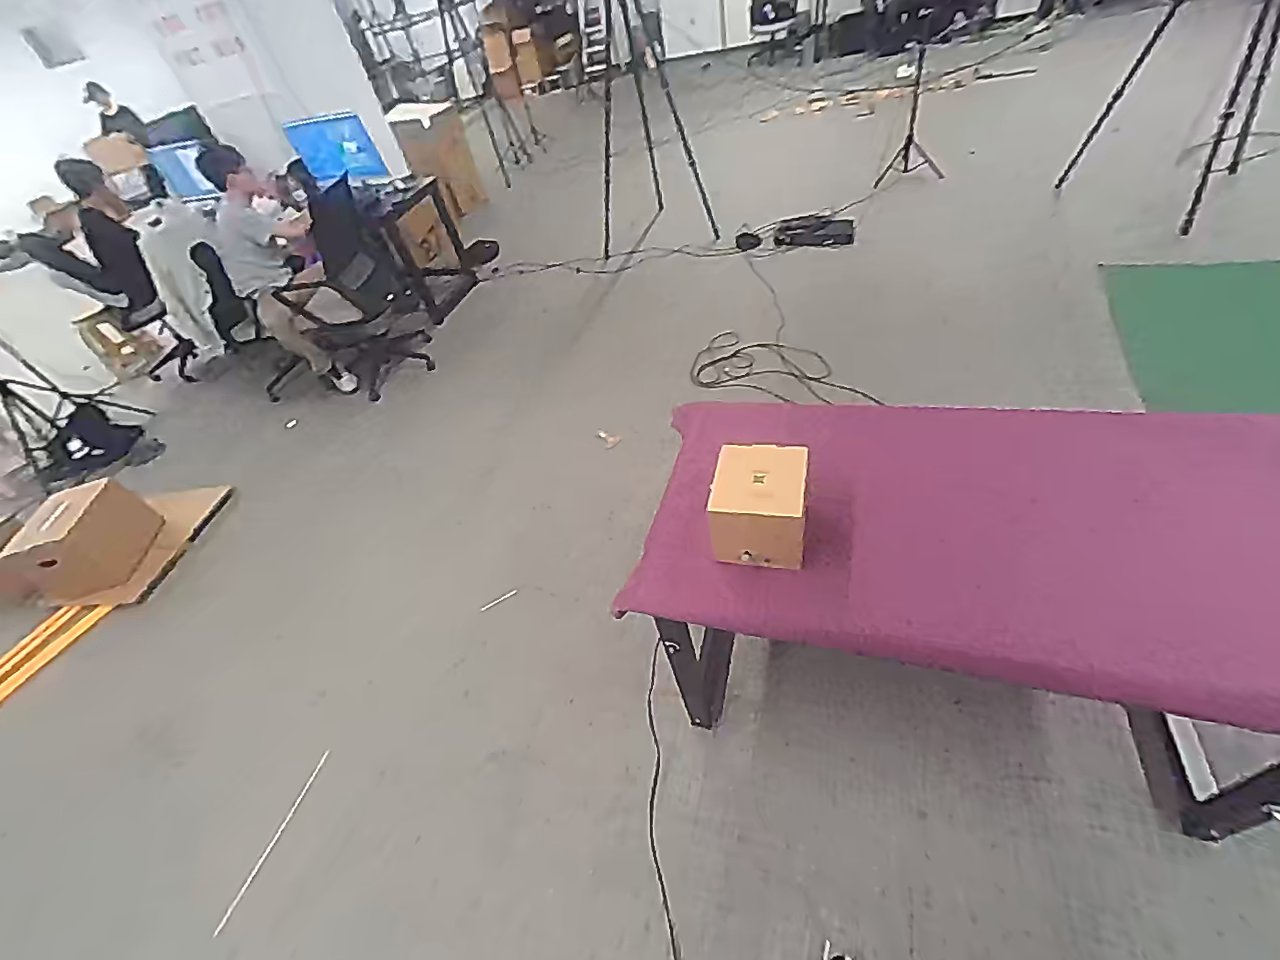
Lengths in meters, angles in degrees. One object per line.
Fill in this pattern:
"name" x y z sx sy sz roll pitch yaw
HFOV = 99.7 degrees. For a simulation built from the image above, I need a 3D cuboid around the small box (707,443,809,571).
"small box" 0.233 0.051 1.046 0.168 0.176 0.179 3 49 20
